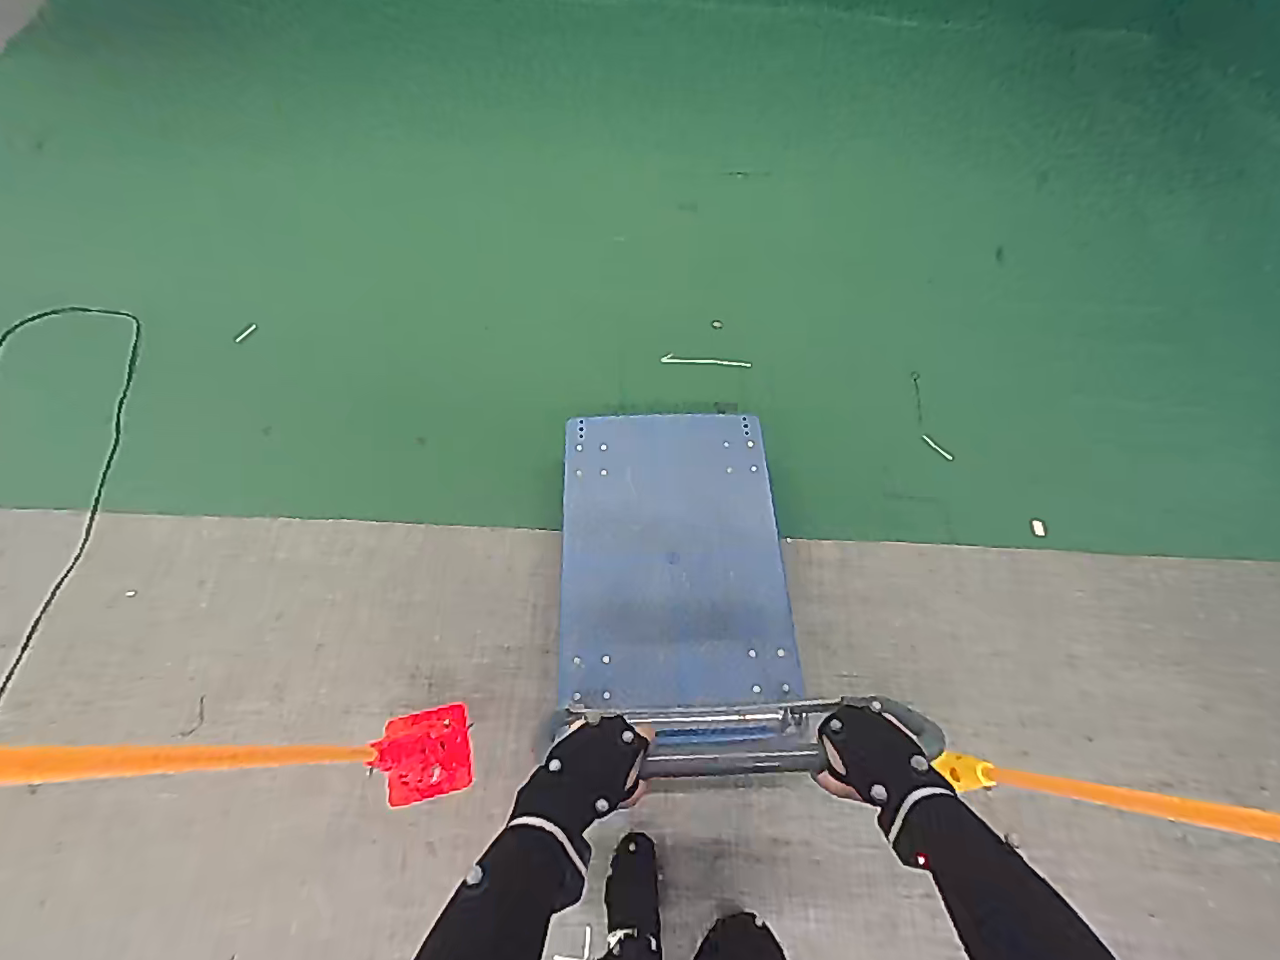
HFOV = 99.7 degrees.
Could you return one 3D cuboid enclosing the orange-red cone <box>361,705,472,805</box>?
[{"bbox_3d":[-0.516,0.599,1.180,0.199,0.360,0.198,-12,64,-6],"label":"orange-red cone"}]
